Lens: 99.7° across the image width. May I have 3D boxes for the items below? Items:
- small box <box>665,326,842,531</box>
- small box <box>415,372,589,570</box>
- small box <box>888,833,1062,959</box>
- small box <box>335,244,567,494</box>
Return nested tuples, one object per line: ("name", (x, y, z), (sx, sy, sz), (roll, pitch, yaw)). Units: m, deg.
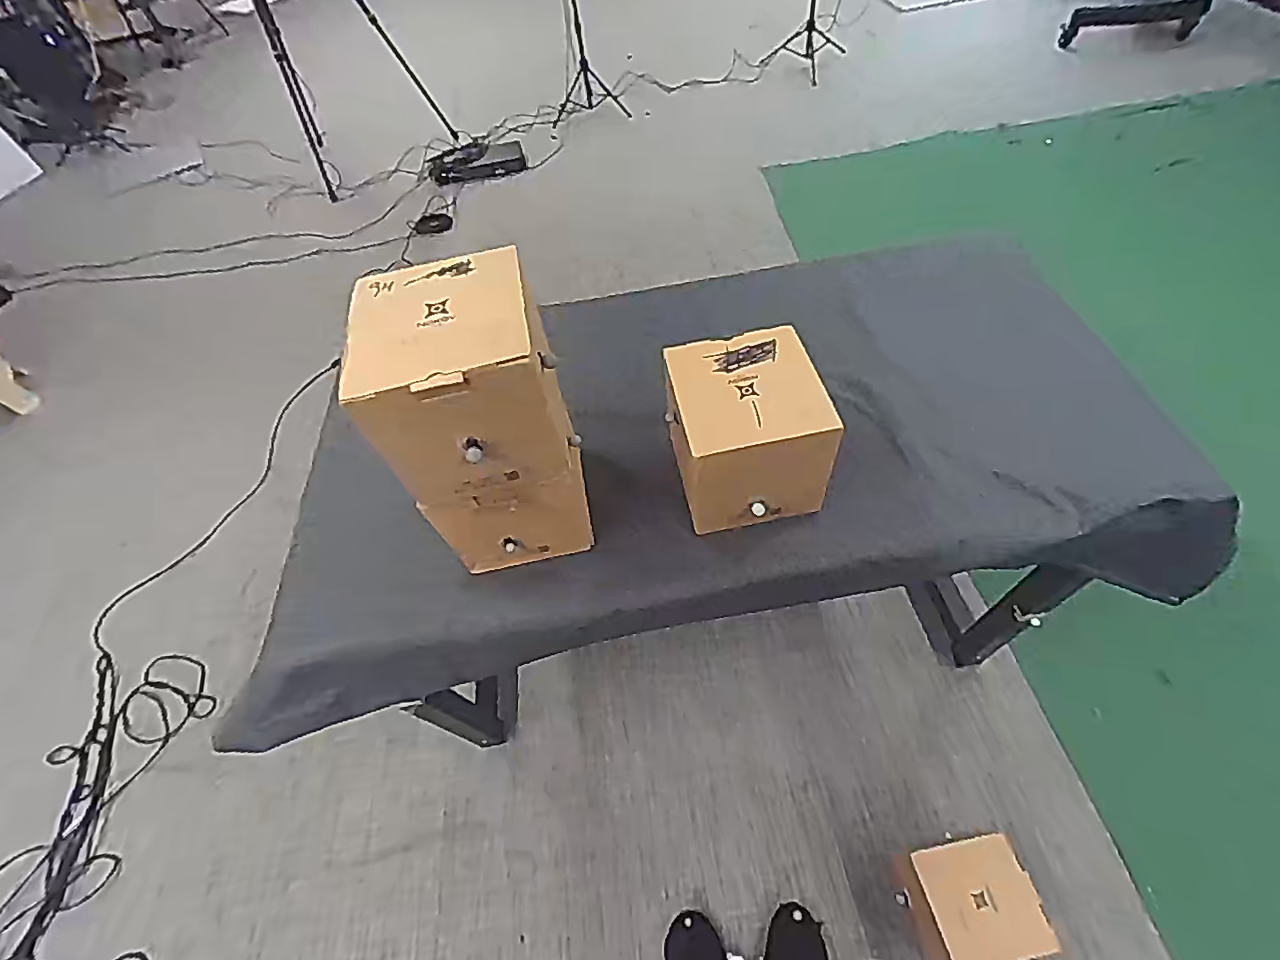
("small box", (0.129, -0.061, 0.680), (0.168, 0.176, 0.179), (-11, 54, 0))
("small box", (-0.166, -0.011, 0.688), (0.168, 0.176, 0.179), (-12, 55, -1))
("small box", (0.574, 0.740, 0.956), (0.179, 0.176, 0.168), (-13, 54, -1))
("small box", (-0.178, -0.103, 0.553), (0.168, 0.176, 0.179), (-13, 56, -2))
